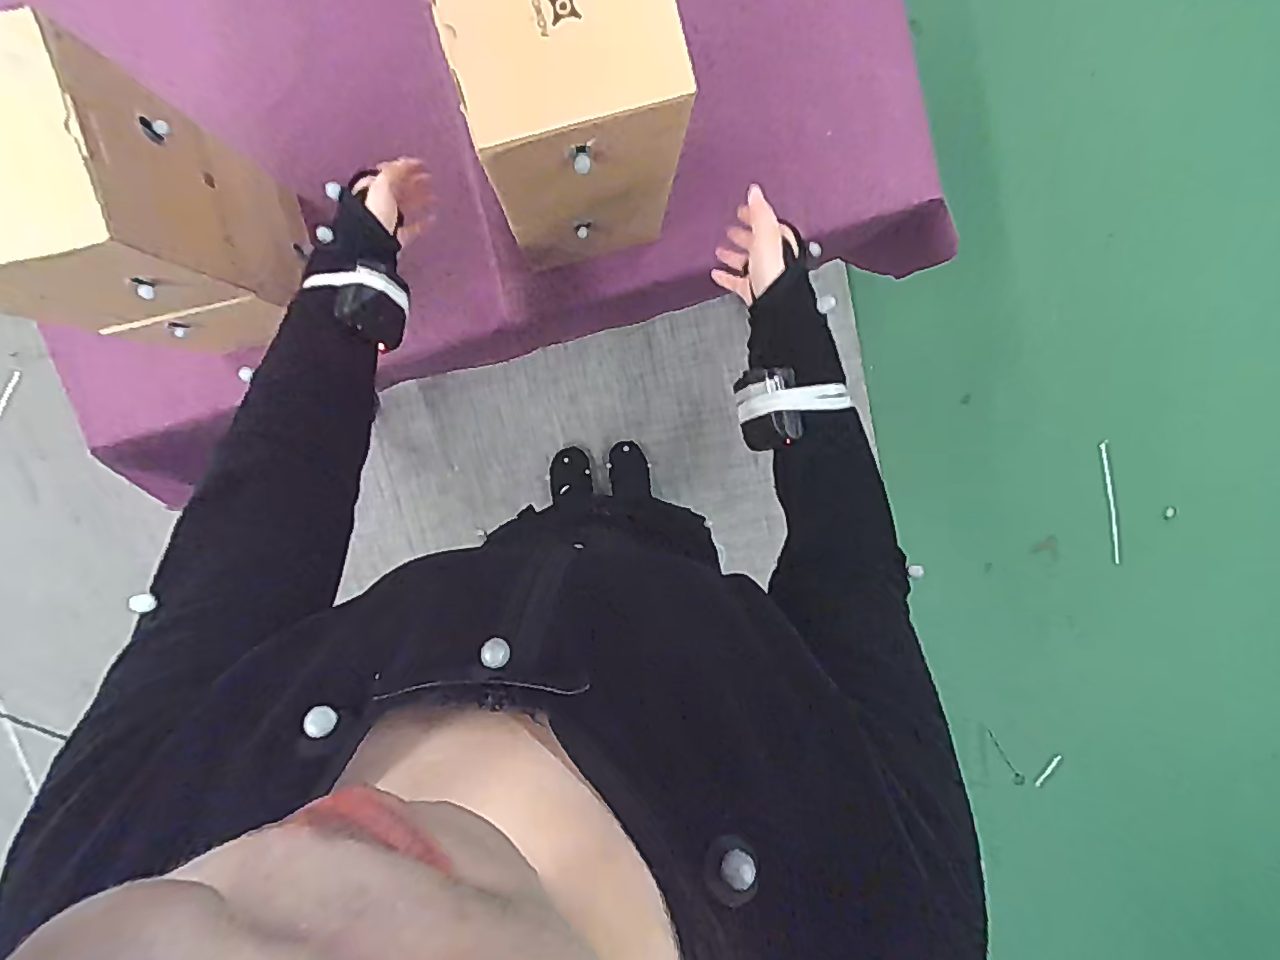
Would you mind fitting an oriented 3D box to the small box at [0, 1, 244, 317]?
[{"bbox_3d":[-0.488,-0.251,0.467,0.179,0.176,0.168,-12,97,-1],"label":"small box"}]

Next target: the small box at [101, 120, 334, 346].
[{"bbox_3d":[-0.497,-0.270,0.630,0.168,0.176,0.179,-14,97,-1],"label":"small box"}]

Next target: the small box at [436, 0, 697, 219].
[{"bbox_3d":[-0.063,-0.358,0.477,0.179,0.176,0.168,-15,98,0],"label":"small box"}]

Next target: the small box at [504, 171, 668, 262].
[{"bbox_3d":[-0.075,-0.377,0.639,0.179,0.176,0.168,-14,97,-2],"label":"small box"}]
